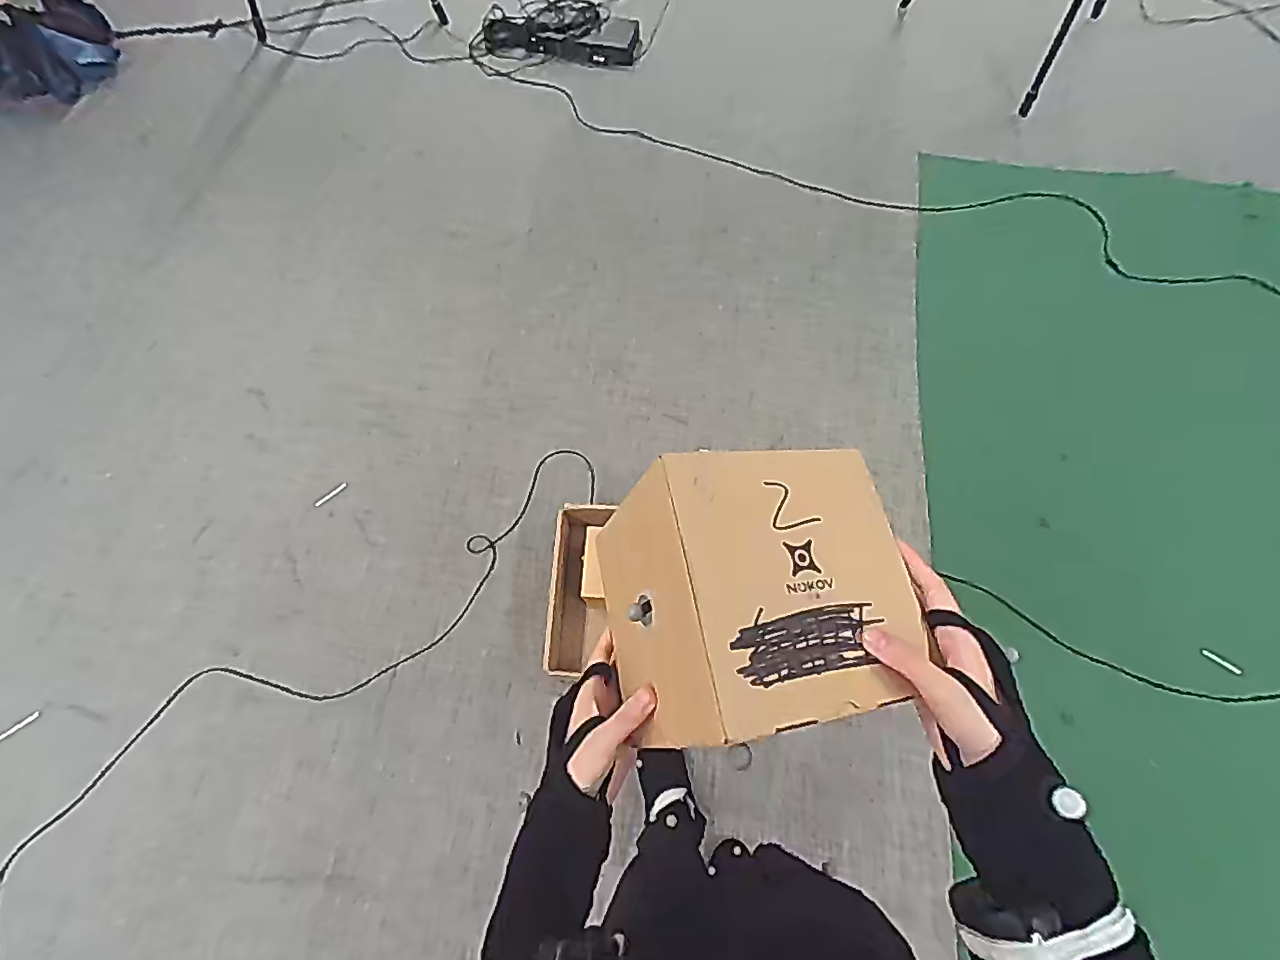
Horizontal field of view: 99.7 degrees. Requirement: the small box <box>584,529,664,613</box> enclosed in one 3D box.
[{"bbox_3d":[-0.033,0.224,1.305,0.179,0.176,0.168,3,69,1],"label":"small box"}]
